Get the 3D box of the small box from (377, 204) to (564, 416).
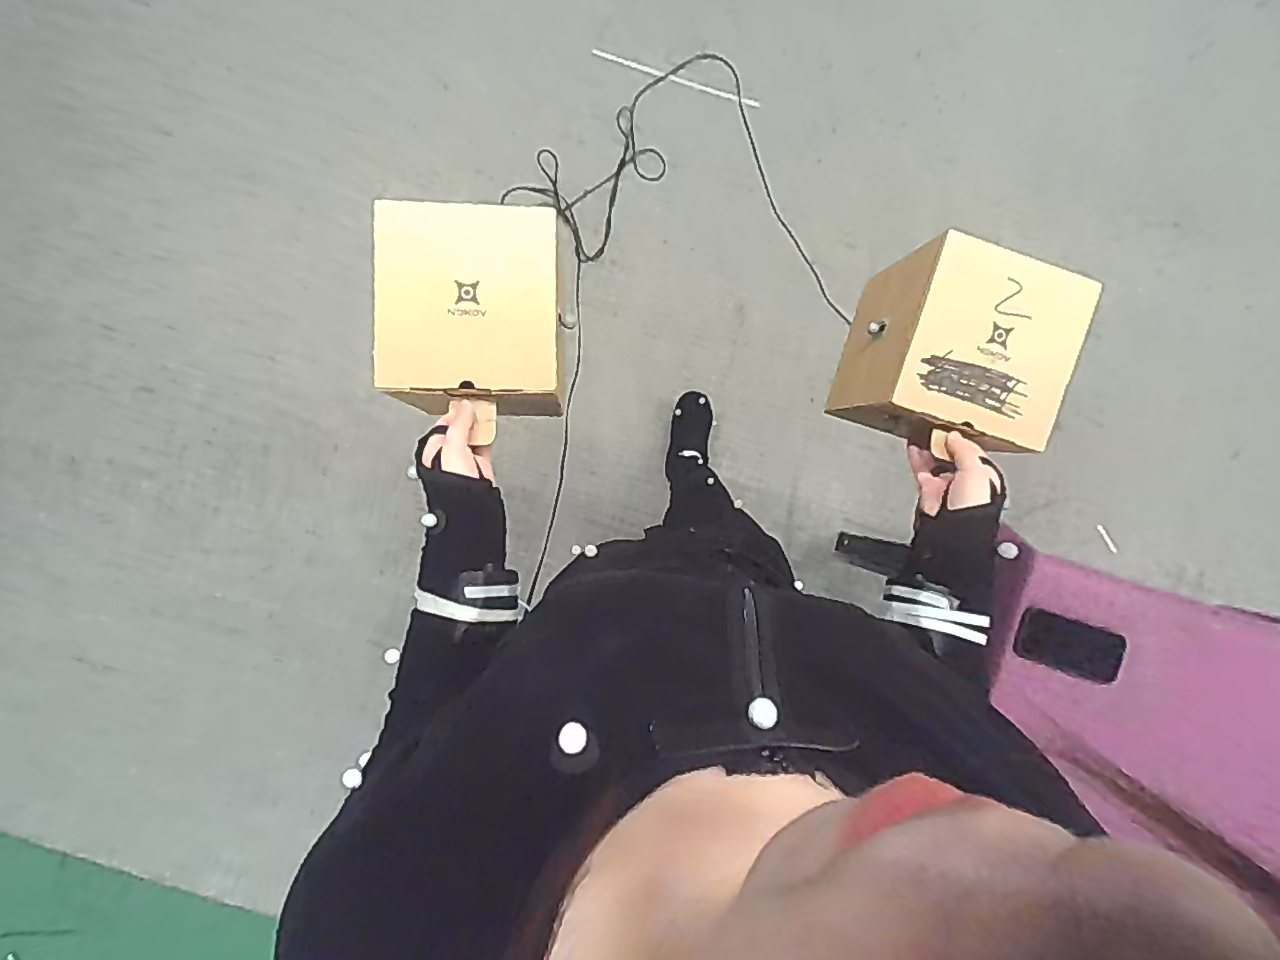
[{"bbox_3d":[-0.170,-0.168,0.588,0.168,0.176,0.179,0,90,-6],"label":"small box"}]
